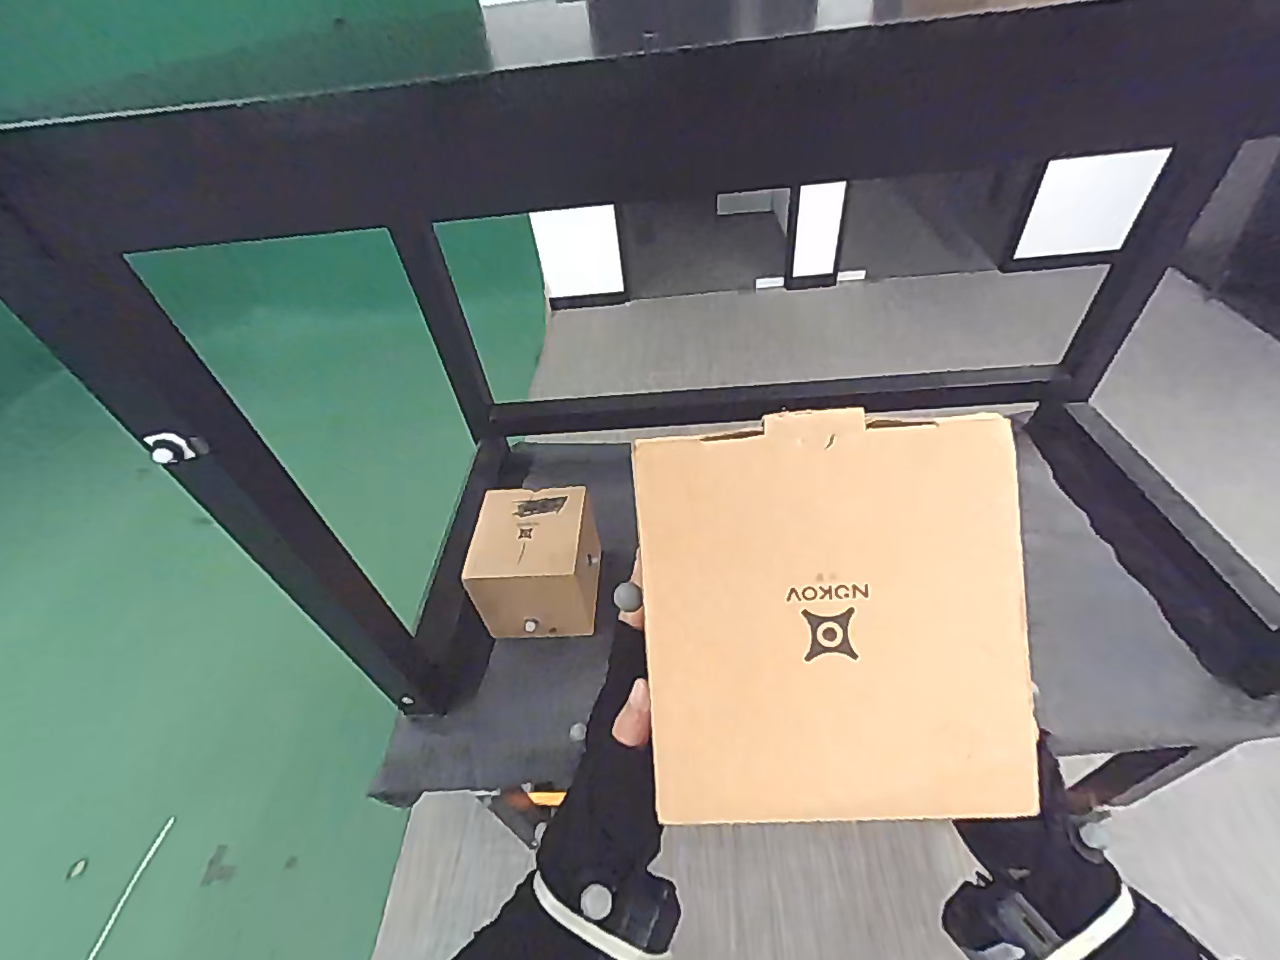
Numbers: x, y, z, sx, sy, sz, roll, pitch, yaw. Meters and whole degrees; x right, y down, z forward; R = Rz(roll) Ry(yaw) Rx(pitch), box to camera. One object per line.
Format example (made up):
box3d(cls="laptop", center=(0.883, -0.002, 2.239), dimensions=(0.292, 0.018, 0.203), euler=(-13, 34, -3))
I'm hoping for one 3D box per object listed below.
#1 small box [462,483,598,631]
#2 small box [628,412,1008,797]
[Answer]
box3d(cls="small box", center=(-0.164, 0.125, 0.877), dimensions=(0.168, 0.176, 0.179), euler=(-3, 45, 4))
box3d(cls="small box", center=(0.087, 0.060, 0.331), dimensions=(0.168, 0.176, 0.179), euler=(-4, 89, 4))
